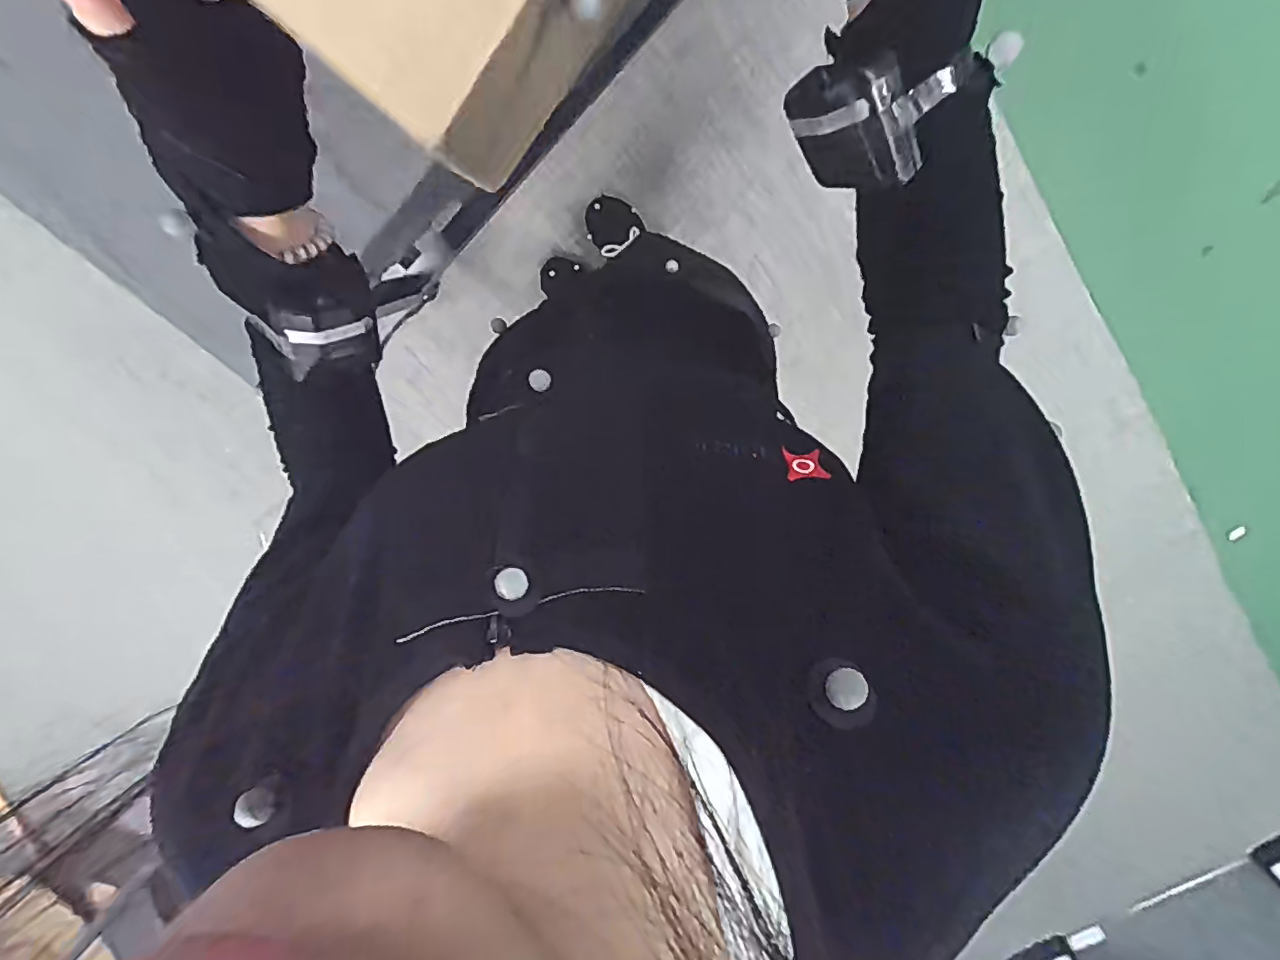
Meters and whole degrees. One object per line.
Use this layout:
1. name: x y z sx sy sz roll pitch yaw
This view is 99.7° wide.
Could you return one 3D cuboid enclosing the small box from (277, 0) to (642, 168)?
1. small box: -0.081 -0.242 0.189 0.179 0.176 0.168 37 105 -21
